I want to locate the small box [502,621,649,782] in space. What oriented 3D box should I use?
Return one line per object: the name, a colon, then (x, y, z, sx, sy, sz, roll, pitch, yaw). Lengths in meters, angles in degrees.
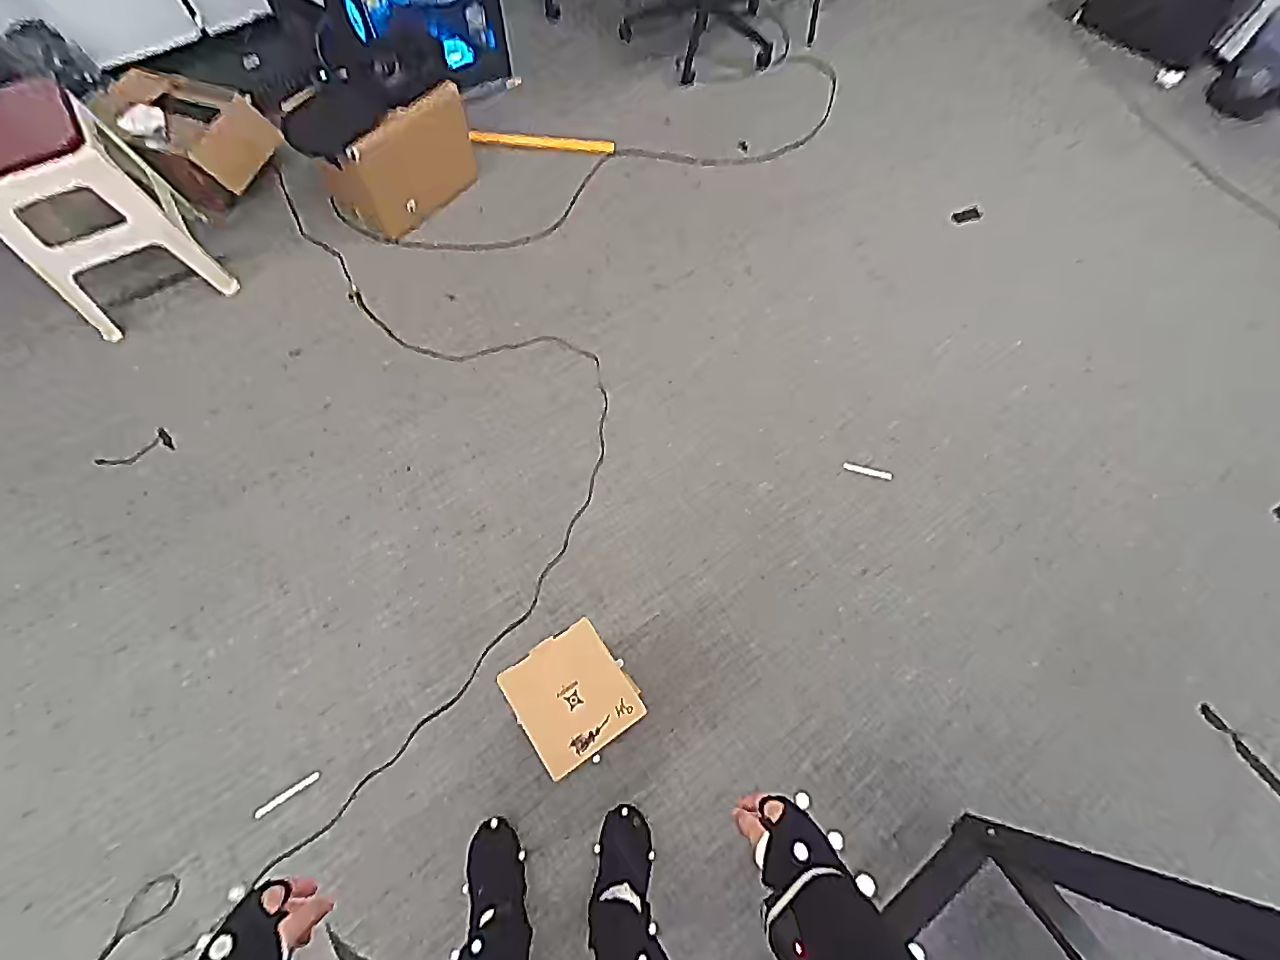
small box: (-0.103, 0.363, 0.891, 0.168, 0.176, 0.179, -32, 71, -15)
